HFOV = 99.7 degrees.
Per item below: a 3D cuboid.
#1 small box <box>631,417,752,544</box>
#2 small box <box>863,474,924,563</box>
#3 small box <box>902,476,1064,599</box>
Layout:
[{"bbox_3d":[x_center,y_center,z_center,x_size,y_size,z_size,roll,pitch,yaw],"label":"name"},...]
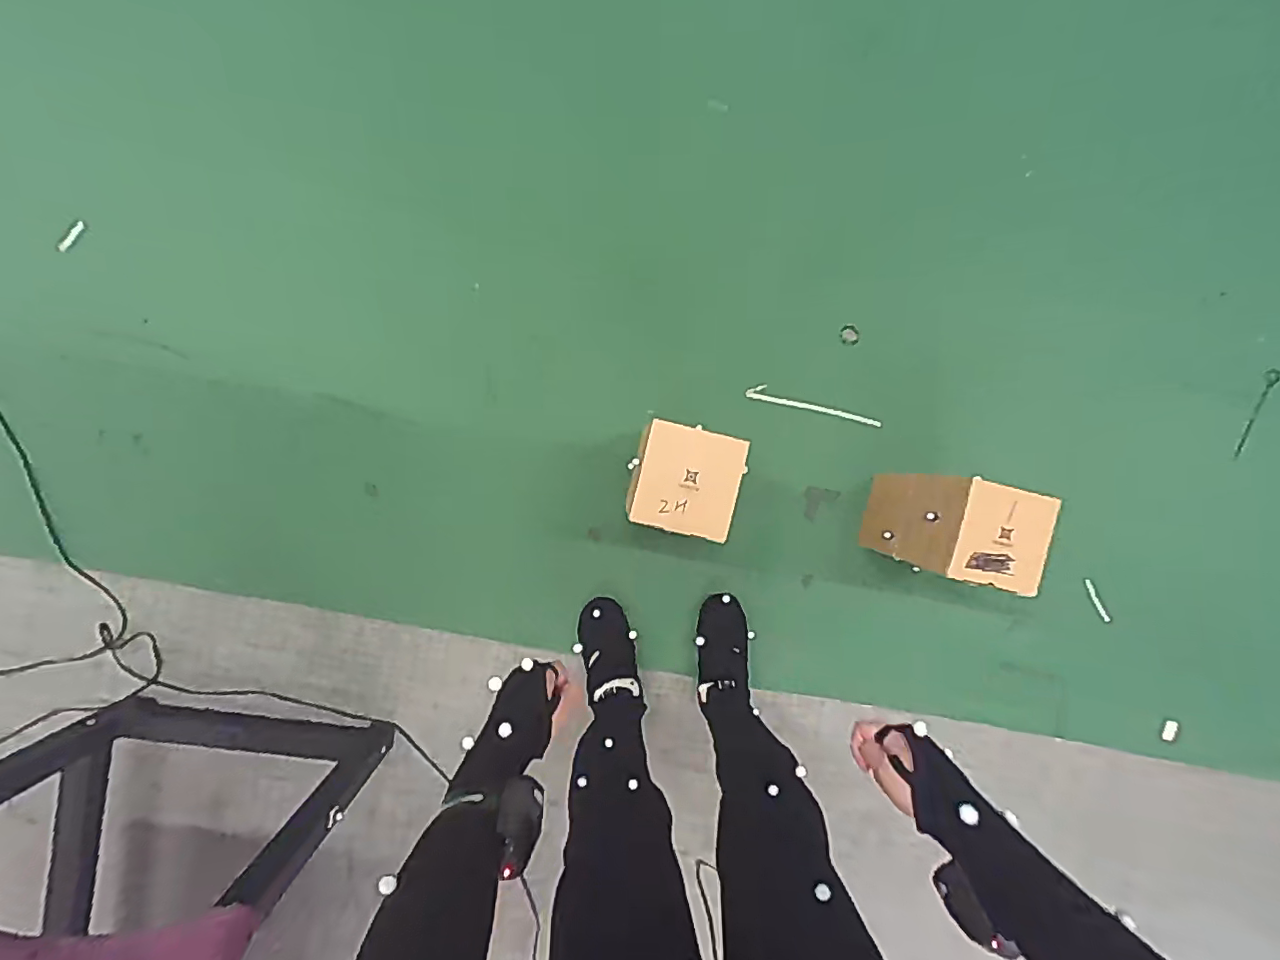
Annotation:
[{"bbox_3d":[0.081,-0.001,0.959,0.168,0.176,0.179,14,92,-2],"label":"small box"},{"bbox_3d":[0.604,0.088,1.154,0.168,0.176,0.179,13,92,-4],"label":"small box"},{"bbox_3d":[0.612,0.096,0.990,0.168,0.176,0.179,14,92,-4],"label":"small box"}]
